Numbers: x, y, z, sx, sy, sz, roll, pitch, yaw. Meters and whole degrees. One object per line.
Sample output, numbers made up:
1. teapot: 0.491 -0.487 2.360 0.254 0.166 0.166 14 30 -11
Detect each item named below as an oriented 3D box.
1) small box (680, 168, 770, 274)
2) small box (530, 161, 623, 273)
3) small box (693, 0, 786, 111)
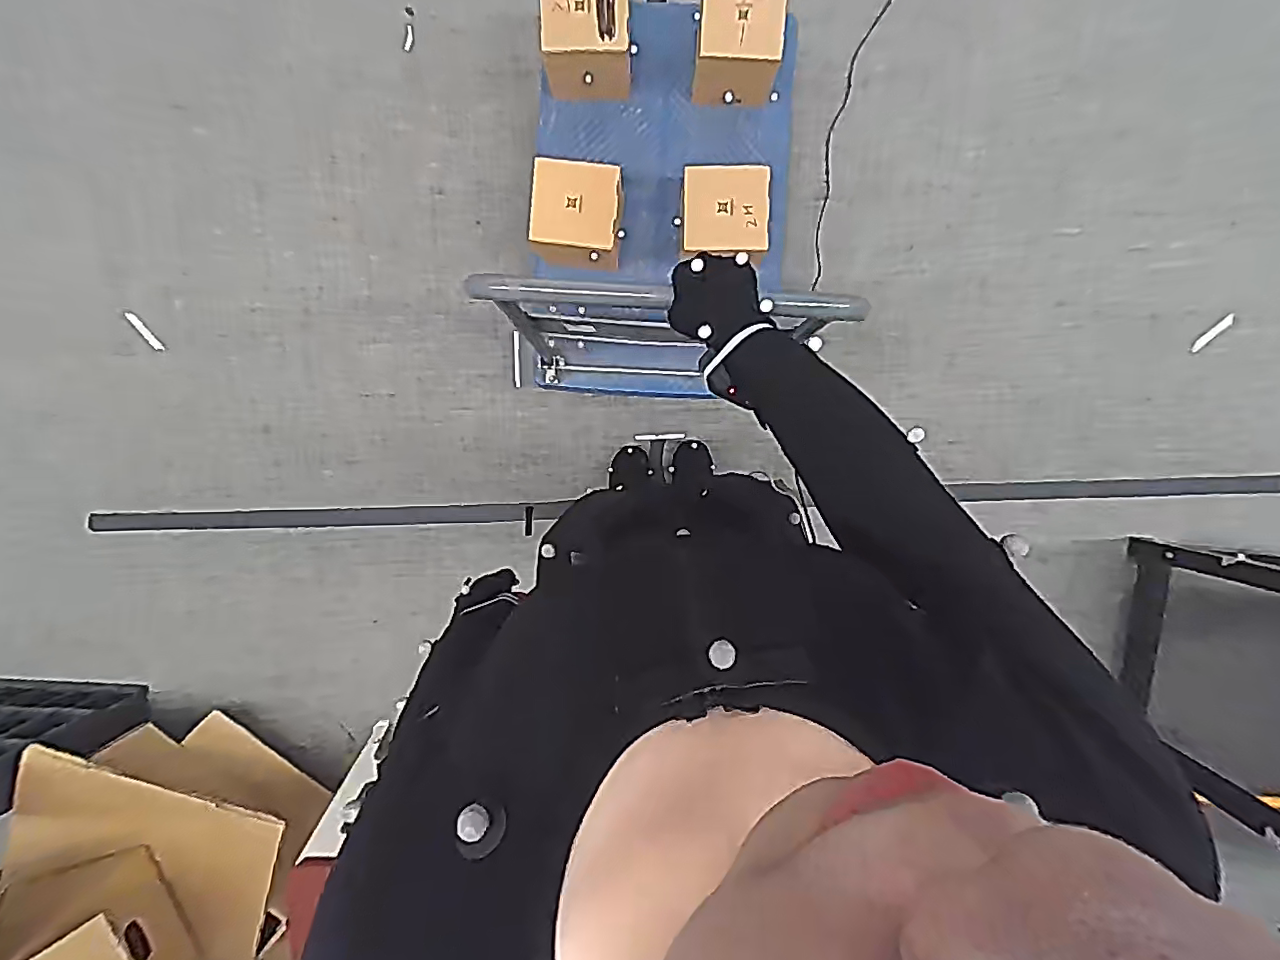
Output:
1. small box: 0.177 -0.555 1.179 0.179 0.176 0.168 0 95 1
2. small box: -0.133 -0.564 1.181 0.179 0.176 0.168 5 95 -2
3. small box: 0.204 -0.926 1.145 0.168 0.176 0.179 3 96 0
